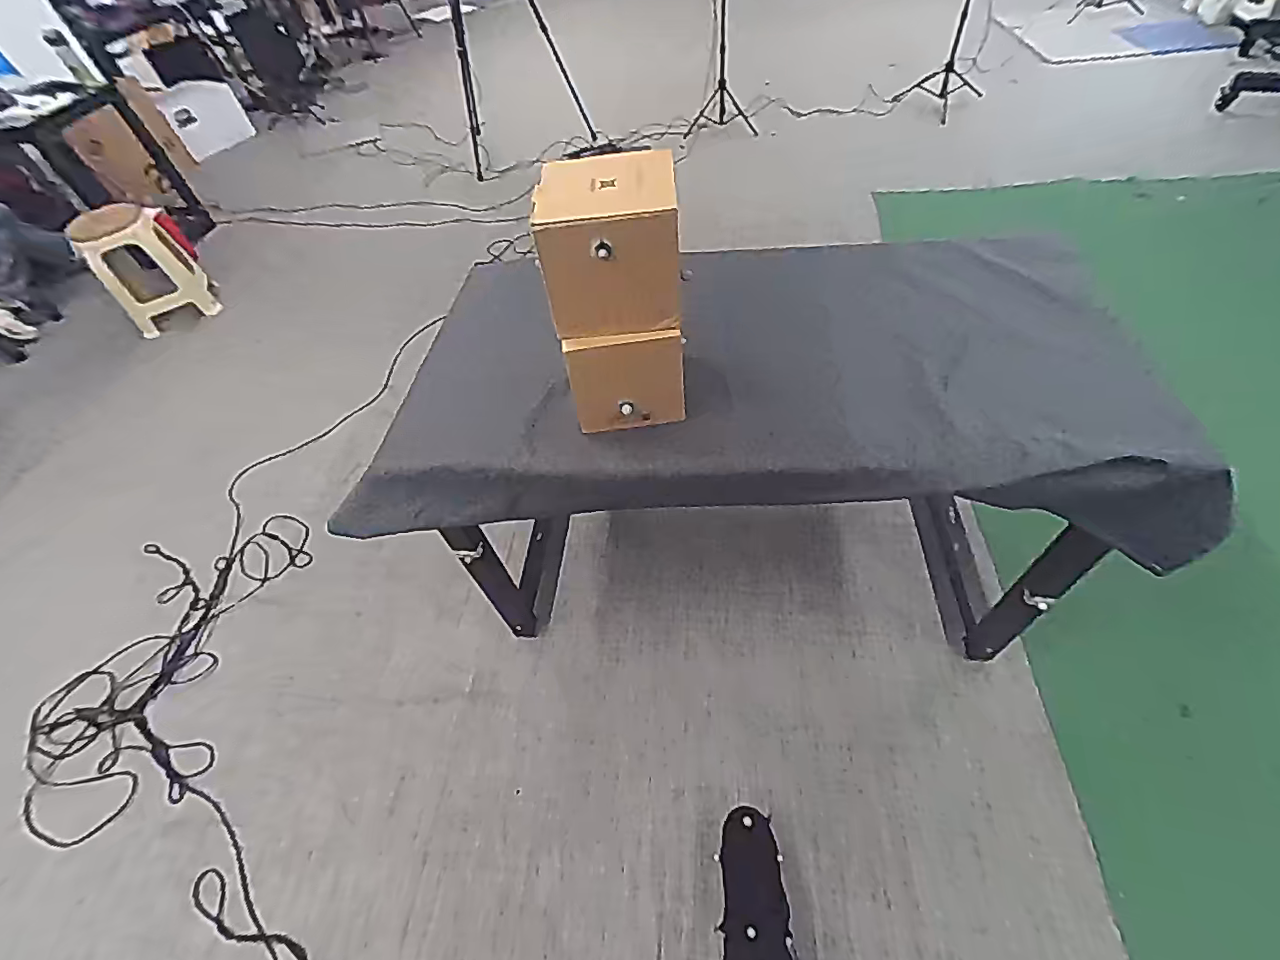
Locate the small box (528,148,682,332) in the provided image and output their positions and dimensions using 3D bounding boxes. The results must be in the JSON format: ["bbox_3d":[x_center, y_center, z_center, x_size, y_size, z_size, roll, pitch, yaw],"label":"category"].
[{"bbox_3d":[-0.037,-0.317,0.731,0.179,0.176,0.168,-4,53,3],"label":"small box"}]

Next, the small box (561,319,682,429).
[{"bbox_3d":[-0.026,-0.205,0.849,0.168,0.176,0.179,-8,52,1],"label":"small box"}]
